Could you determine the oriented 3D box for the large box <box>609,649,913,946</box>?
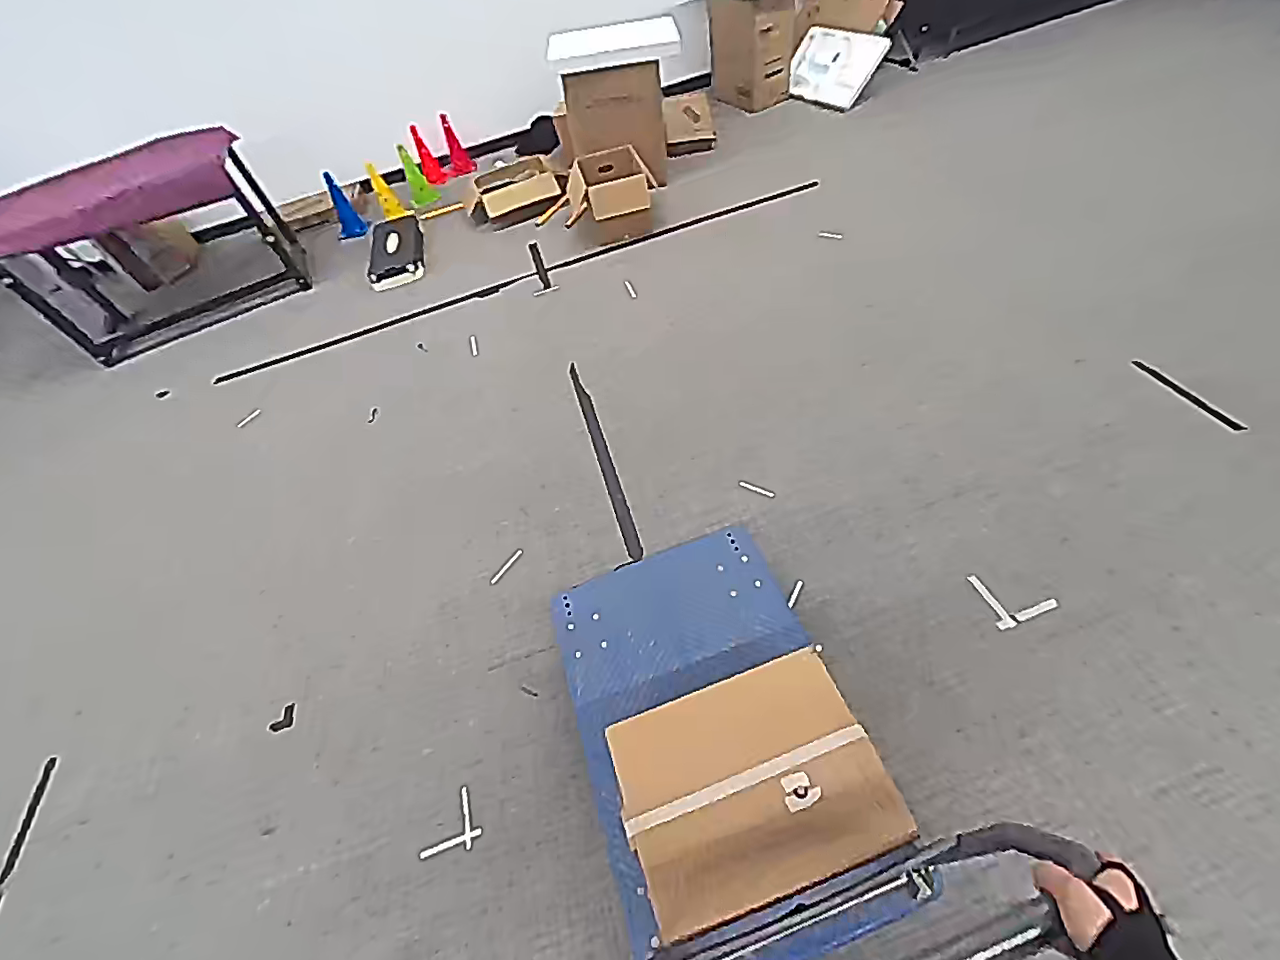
[{"bbox_3d":[0.198,0.576,0.989,0.408,0.320,0.320,-20,51,-5],"label":"large box"}]
